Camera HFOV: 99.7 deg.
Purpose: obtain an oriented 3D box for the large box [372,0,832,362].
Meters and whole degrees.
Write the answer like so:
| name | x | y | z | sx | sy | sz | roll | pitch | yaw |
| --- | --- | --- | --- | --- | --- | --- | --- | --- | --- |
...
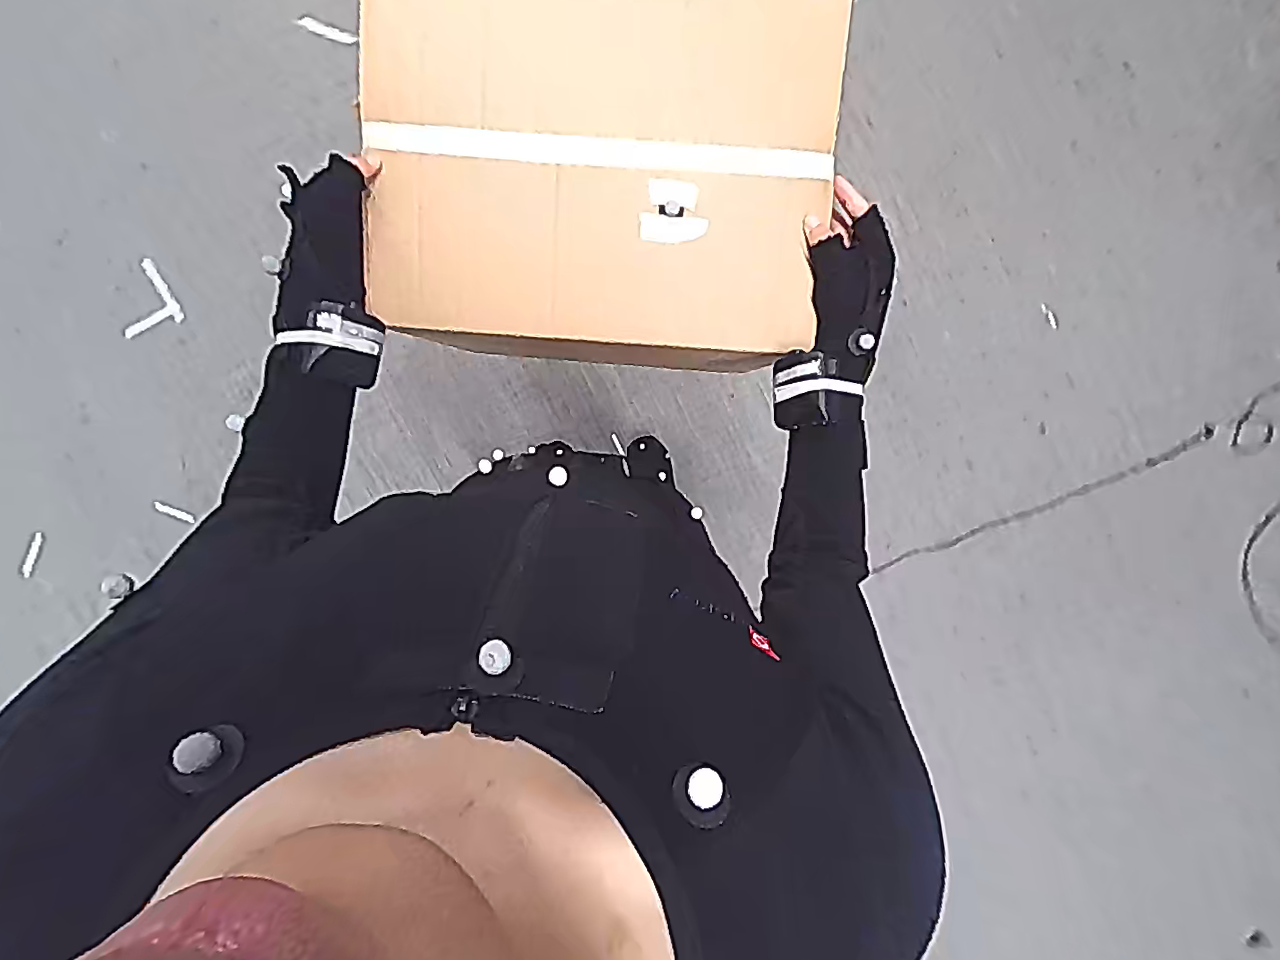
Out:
| name | x | y | z | sx | sy | sz | roll | pitch | yaw |
| --- | --- | --- | --- | --- | --- | --- | --- | --- | --- |
| large box | -0.039 | -0.309 | 0.631 | 0.408 | 0.320 | 0.320 | 2 | 99 | -1 |
